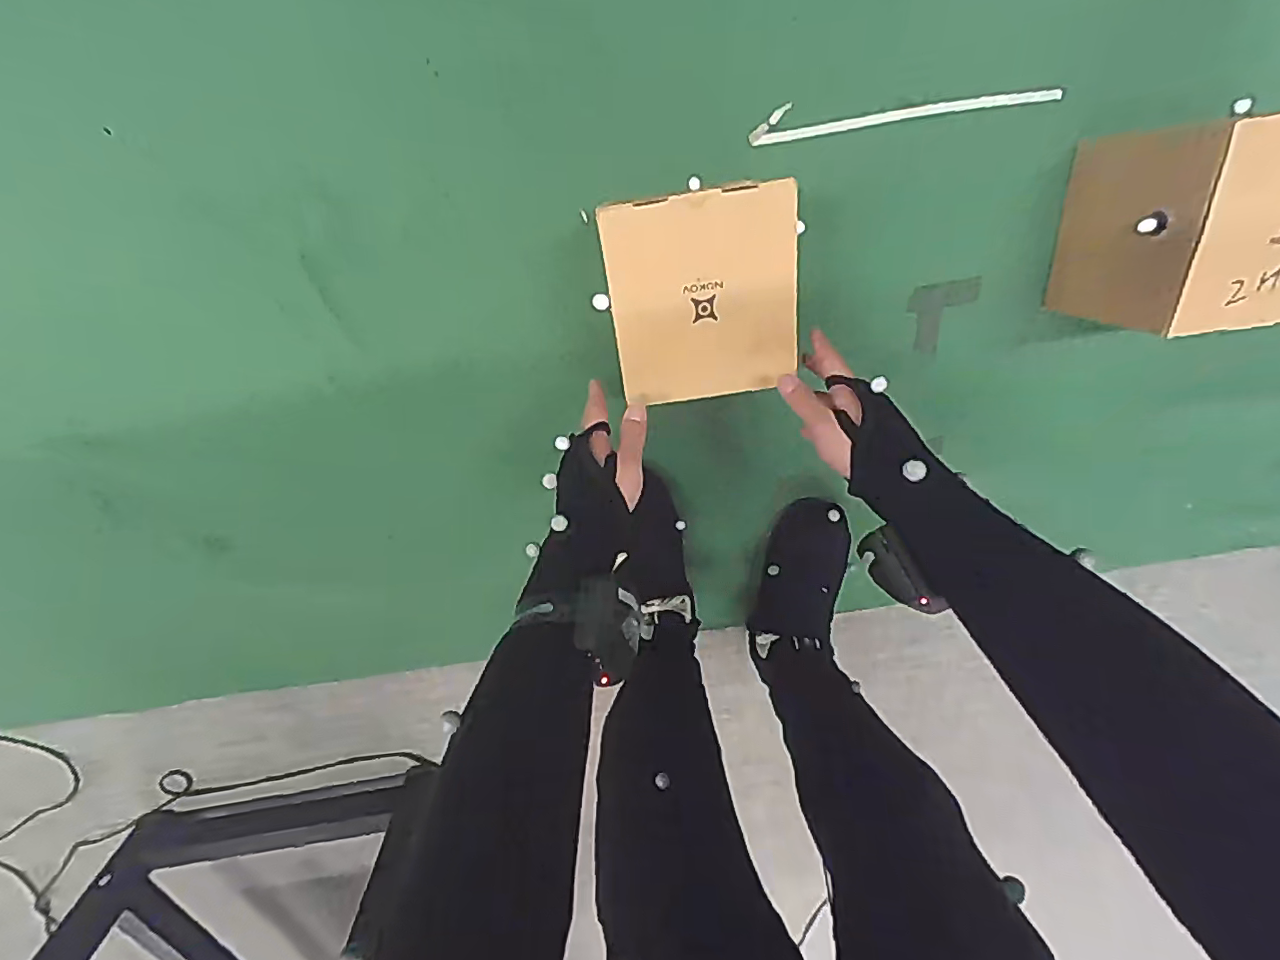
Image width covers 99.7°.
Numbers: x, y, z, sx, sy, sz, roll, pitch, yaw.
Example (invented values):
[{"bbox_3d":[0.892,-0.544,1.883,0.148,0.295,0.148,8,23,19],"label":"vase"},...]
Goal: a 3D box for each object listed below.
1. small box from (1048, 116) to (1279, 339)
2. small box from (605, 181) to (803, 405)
[{"bbox_3d":[0.560,-0.253,0.543,0.168,0.176,0.179,-7,117,0],"label":"small box"},{"bbox_3d":[0.060,-0.193,0.550,0.168,0.176,0.179,-8,116,2],"label":"small box"}]
